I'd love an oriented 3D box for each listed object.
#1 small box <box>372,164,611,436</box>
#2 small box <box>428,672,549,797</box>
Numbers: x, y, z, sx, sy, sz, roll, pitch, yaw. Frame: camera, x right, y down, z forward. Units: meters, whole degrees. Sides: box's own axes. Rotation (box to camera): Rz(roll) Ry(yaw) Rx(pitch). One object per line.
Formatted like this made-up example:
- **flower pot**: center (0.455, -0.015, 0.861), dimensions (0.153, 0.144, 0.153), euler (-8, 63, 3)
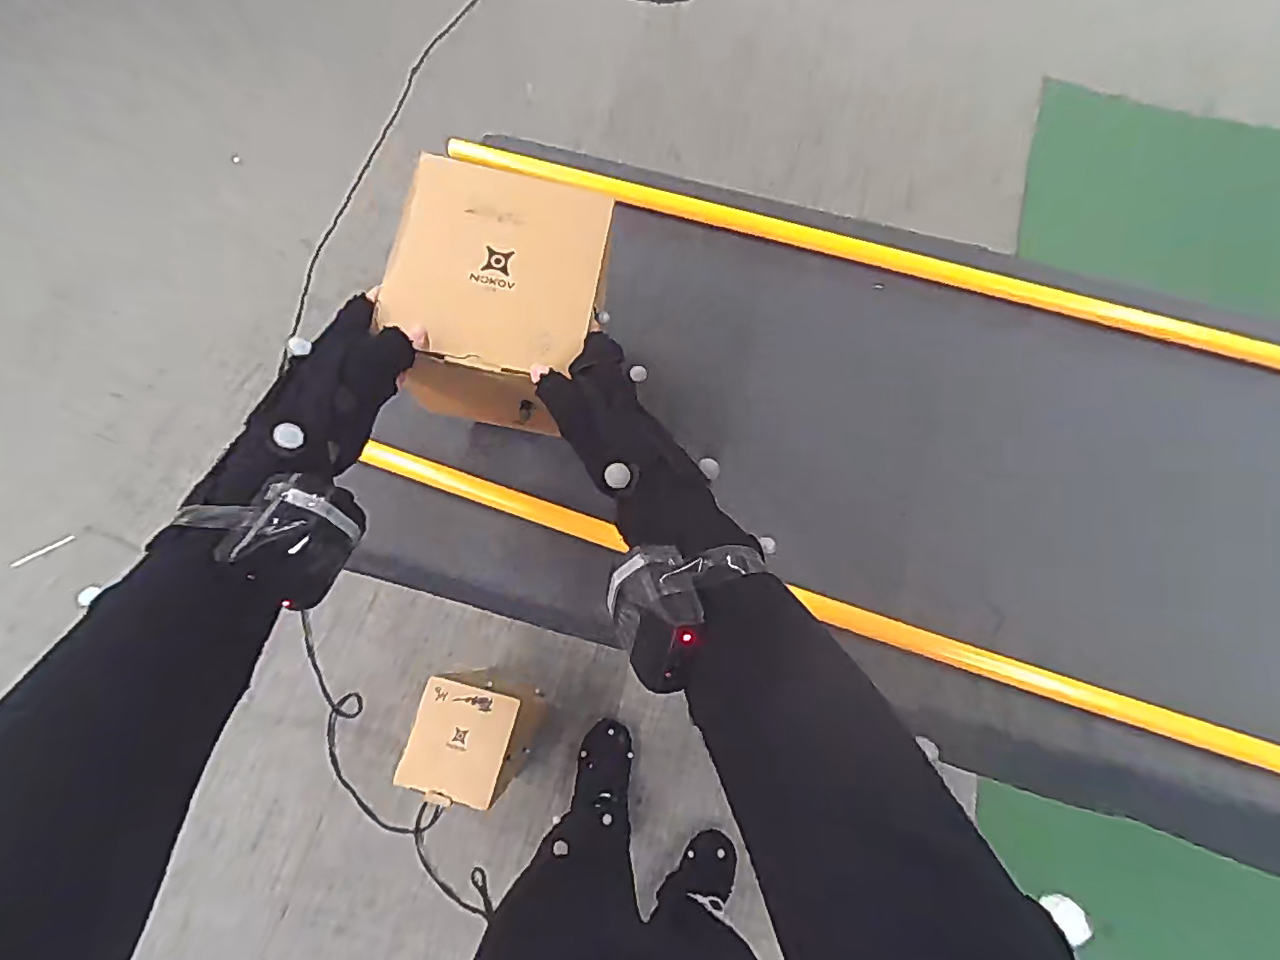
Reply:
- **small box**: center (-0.127, -0.155, 0.524), dimensions (0.168, 0.176, 0.179), euler (11, 76, -5)
- **small box**: center (-0.302, 0.515, 1.127), dimensions (0.168, 0.176, 0.179), euler (23, 74, 6)
